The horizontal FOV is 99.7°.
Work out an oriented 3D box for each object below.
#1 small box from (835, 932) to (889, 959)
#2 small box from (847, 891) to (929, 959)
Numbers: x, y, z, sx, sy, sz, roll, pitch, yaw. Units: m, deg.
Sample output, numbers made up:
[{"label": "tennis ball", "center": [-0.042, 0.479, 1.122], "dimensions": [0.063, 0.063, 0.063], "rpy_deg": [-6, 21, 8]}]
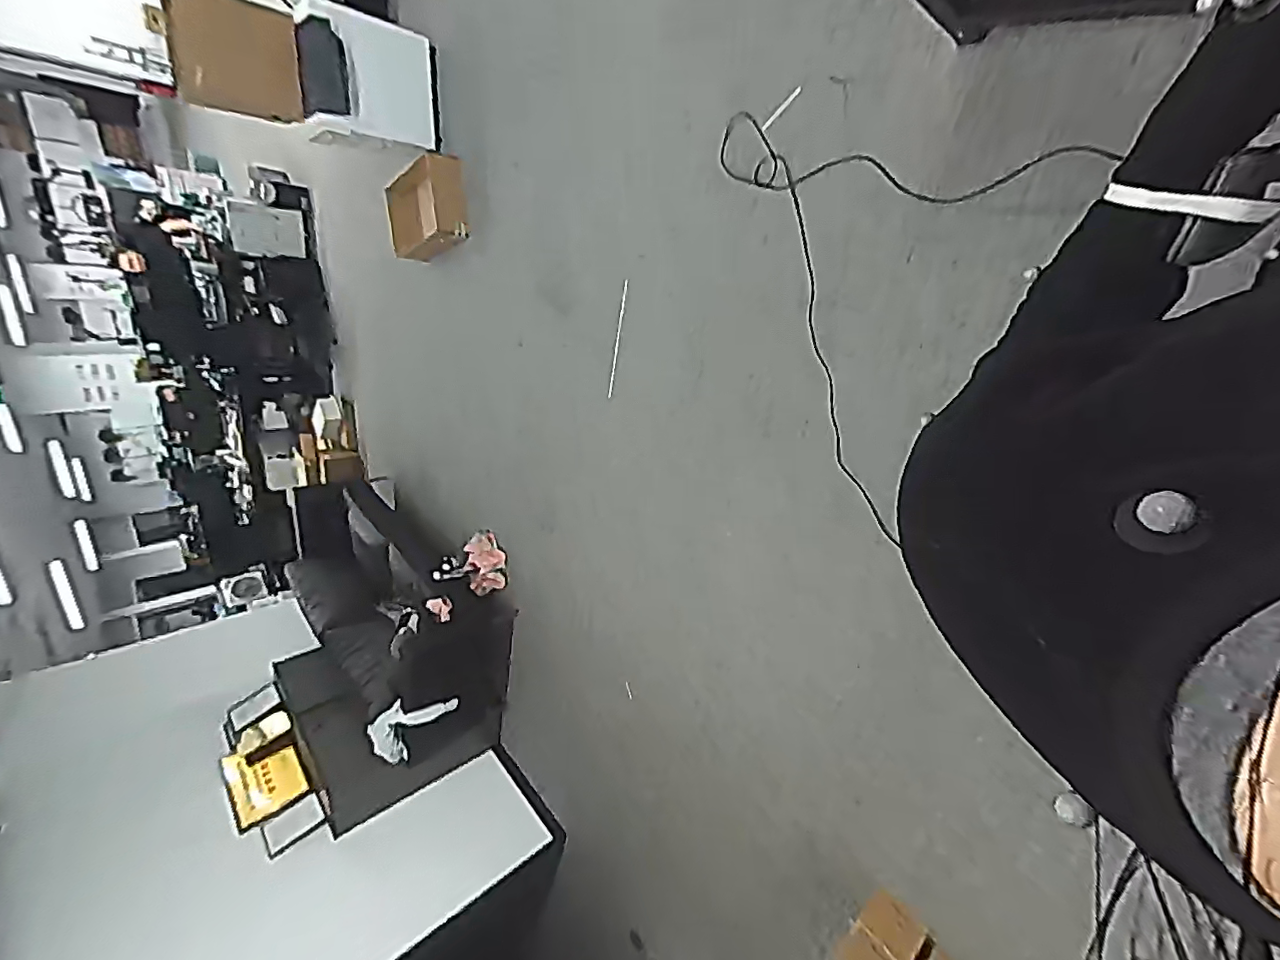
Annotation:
[{"label": "small box", "center": [0.670, 1.522, 1.622], "dimensions": [0.168, 0.176, 0.179], "rpy_deg": [39, 126, 34]}, {"label": "small box", "center": [0.791, 1.482, 1.728], "dimensions": [0.168, 0.176, 0.179], "rpy_deg": [33, 122, 38]}]
